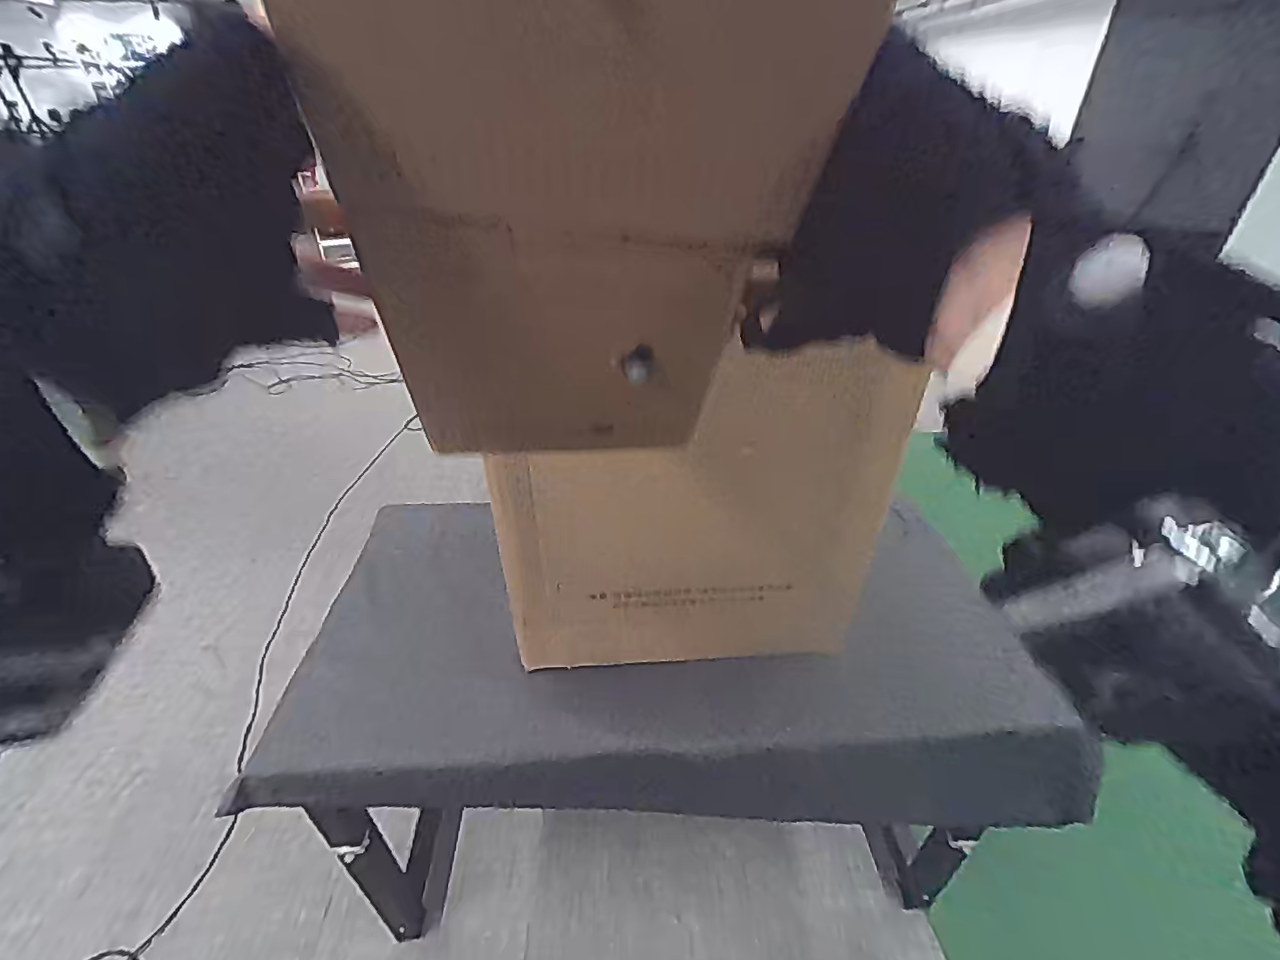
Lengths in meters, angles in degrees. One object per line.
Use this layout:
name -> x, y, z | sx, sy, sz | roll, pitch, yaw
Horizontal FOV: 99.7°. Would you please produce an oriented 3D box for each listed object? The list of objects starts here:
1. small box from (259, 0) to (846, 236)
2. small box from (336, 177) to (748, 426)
small box -> -0.025, -0.210, 0.187 | 0.179, 0.176, 0.168 | 0, 61, -7
small box -> -0.054, -0.144, 0.317 | 0.168, 0.176, 0.179 | -6, 63, -10
